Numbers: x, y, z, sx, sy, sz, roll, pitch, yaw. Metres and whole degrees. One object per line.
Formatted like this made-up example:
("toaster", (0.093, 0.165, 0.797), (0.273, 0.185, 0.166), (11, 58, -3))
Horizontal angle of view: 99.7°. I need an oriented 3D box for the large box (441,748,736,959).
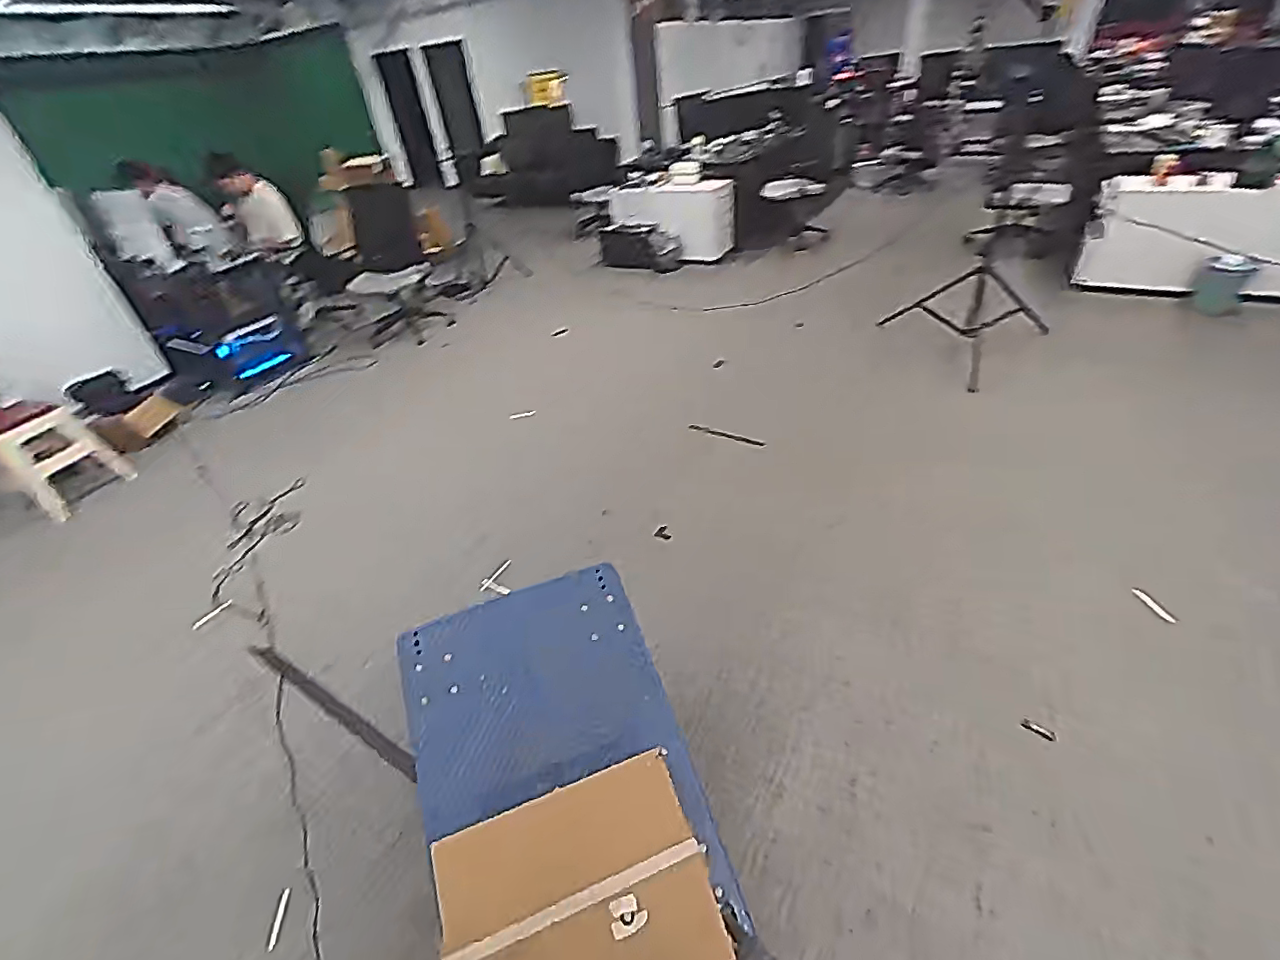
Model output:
("large box", (-0.094, 0.746, 0.980), (0.408, 0.320, 0.320), (-18, 61, -14))
